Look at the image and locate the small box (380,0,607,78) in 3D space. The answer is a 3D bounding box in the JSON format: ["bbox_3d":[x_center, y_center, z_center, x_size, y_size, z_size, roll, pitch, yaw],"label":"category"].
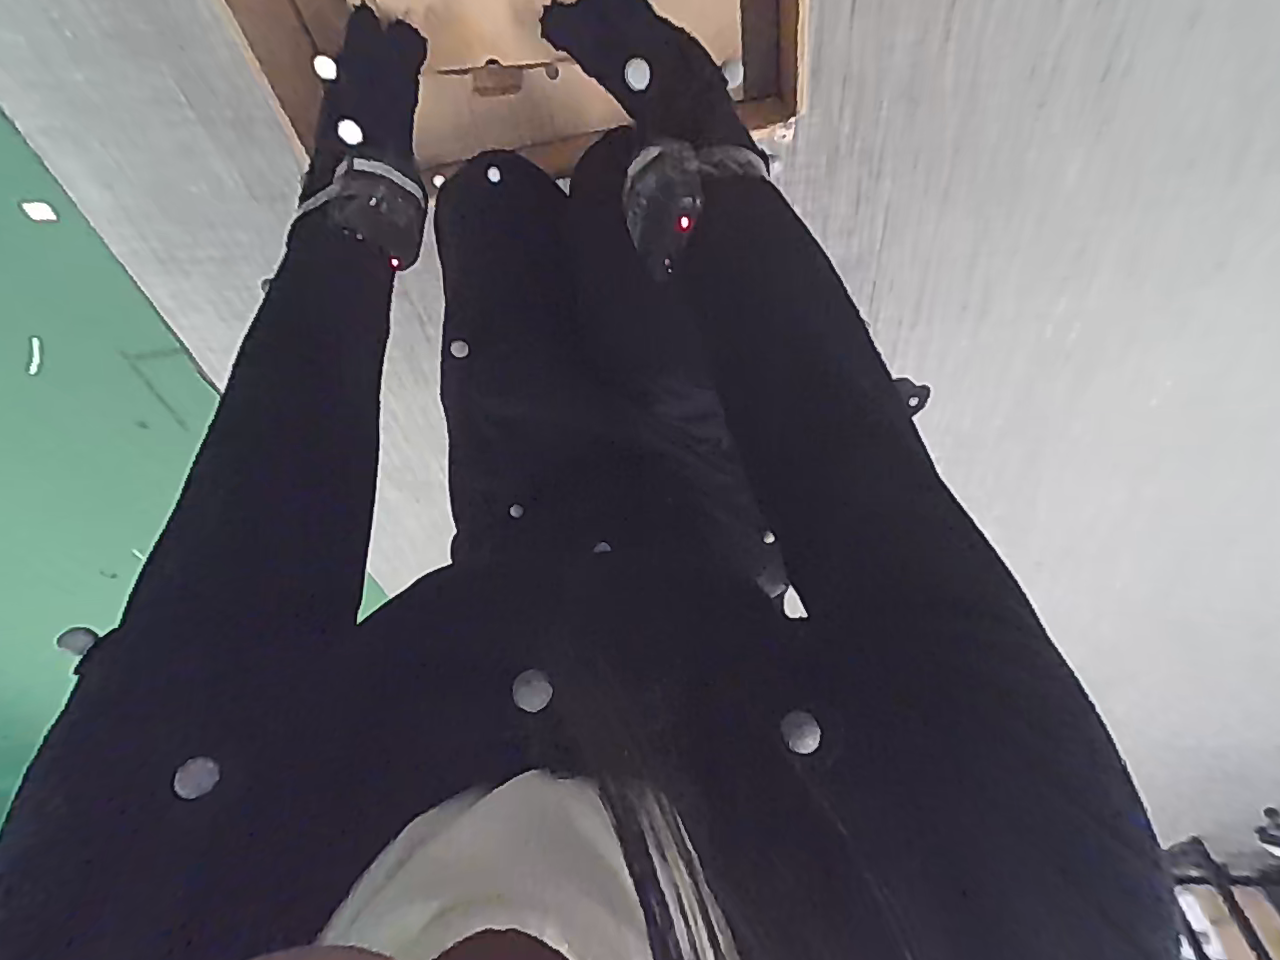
[{"bbox_3d":[-0.123,-0.463,0.457,0.168,0.176,0.179,-2,131,5],"label":"small box"}]
